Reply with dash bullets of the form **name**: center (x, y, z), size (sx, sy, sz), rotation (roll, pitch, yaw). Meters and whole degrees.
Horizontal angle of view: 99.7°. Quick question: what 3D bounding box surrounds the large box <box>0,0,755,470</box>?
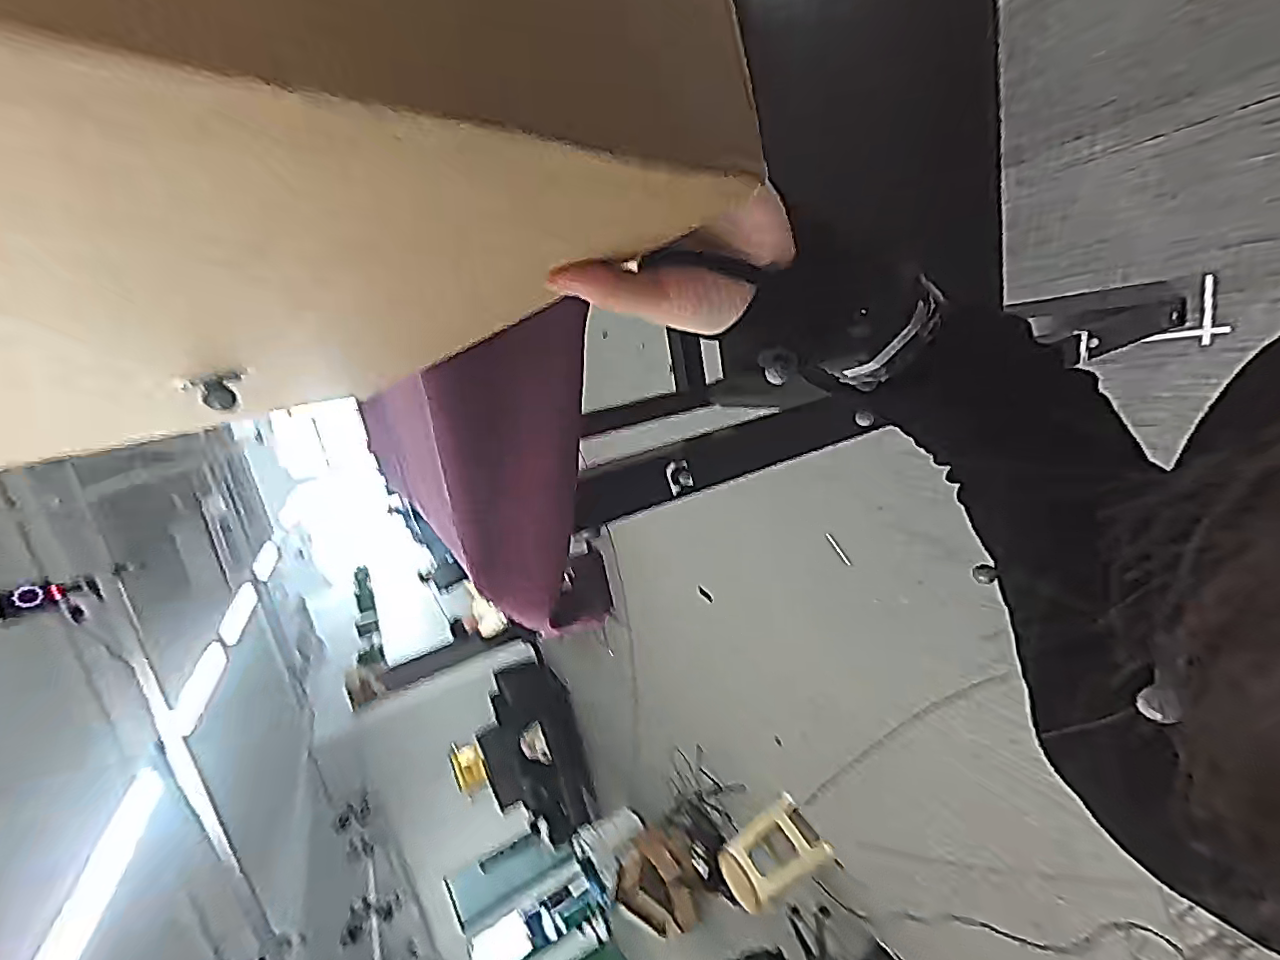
- **large box**: center (-0.232, -0.189, 0.201), size (0.408, 0.320, 0.320), rotation (-7, 101, 45)
